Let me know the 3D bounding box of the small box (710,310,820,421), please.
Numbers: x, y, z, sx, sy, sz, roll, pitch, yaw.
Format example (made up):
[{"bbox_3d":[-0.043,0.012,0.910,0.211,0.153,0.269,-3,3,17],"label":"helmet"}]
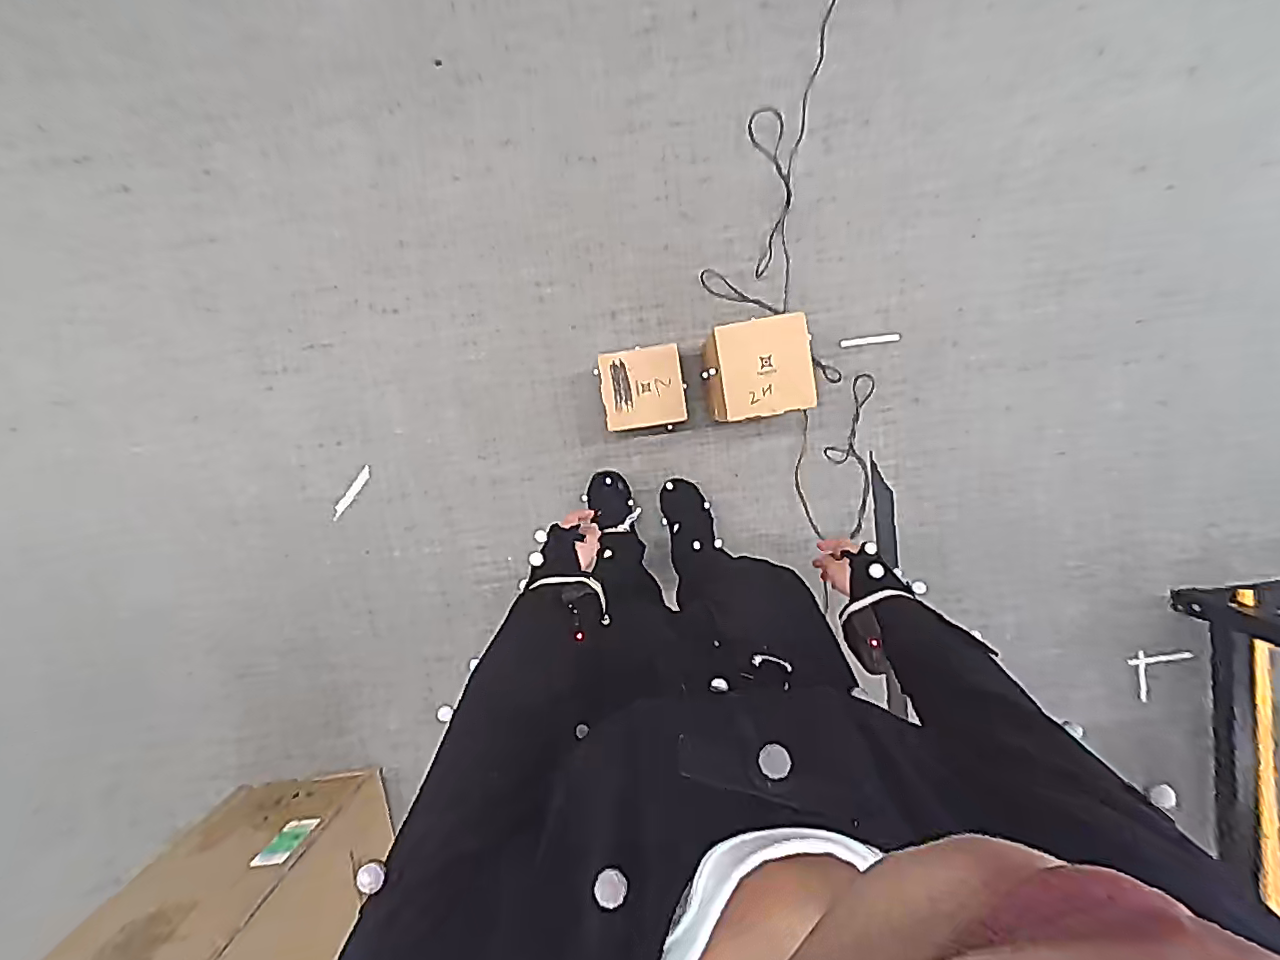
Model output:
[{"bbox_3d":[0.234,-0.213,1.049,0.168,0.176,0.179,-9,96,3],"label":"small box"}]

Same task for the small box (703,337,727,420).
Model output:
[{"bbox_3d":[0.237,-0.230,1.213,0.168,0.176,0.179,-8,97,3],"label":"small box"}]
